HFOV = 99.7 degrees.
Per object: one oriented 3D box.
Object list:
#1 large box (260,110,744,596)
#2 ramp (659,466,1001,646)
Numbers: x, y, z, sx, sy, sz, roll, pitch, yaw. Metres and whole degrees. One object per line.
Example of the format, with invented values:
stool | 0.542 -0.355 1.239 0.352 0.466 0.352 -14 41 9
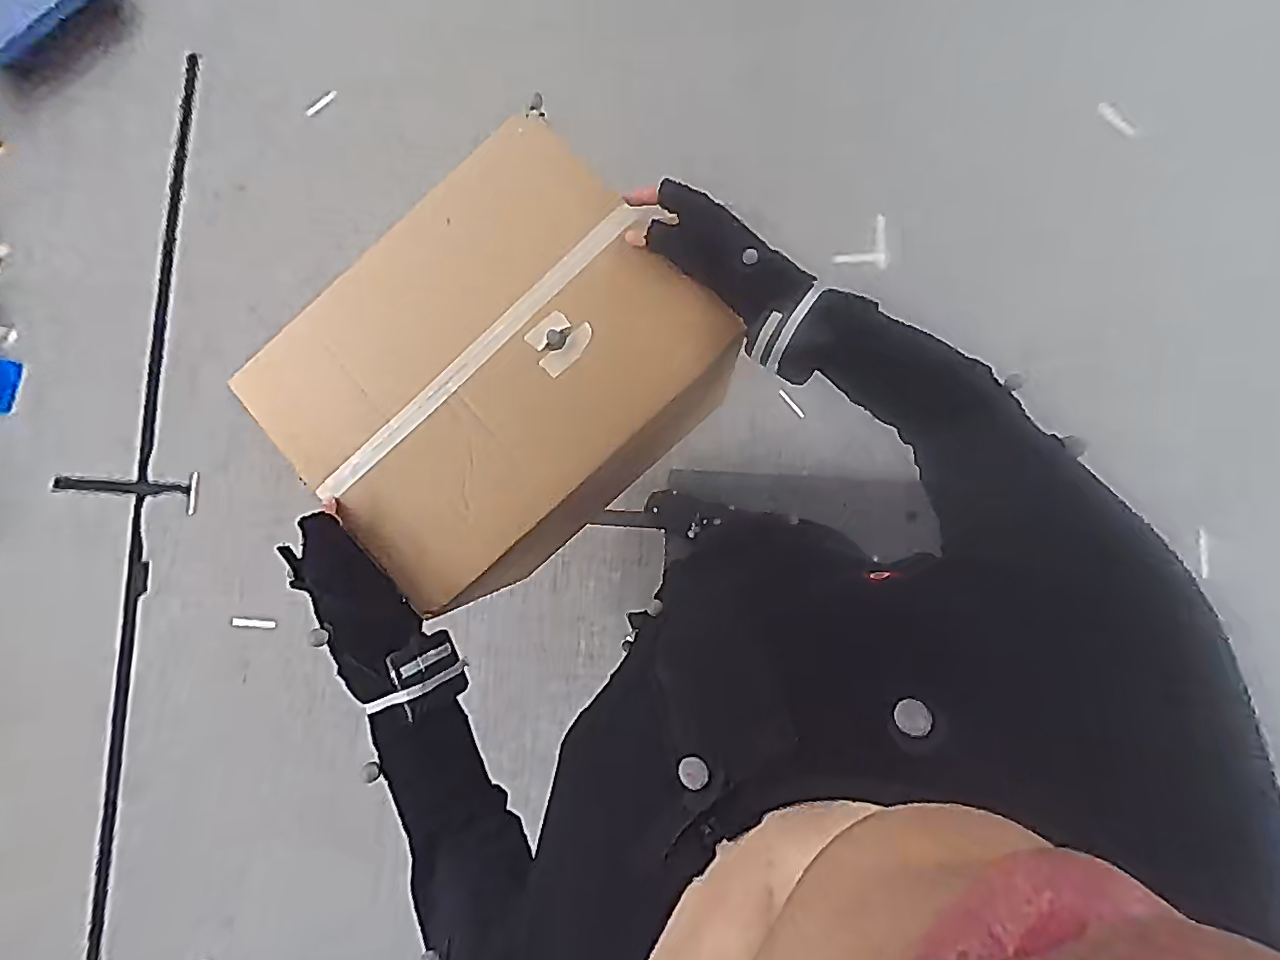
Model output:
large box | -0.132 -0.117 0.675 0.408 0.320 0.320 -42 84 1
ramp | 0.554 0.218 1.541 0.991 0.206 0.509 0 84 5
